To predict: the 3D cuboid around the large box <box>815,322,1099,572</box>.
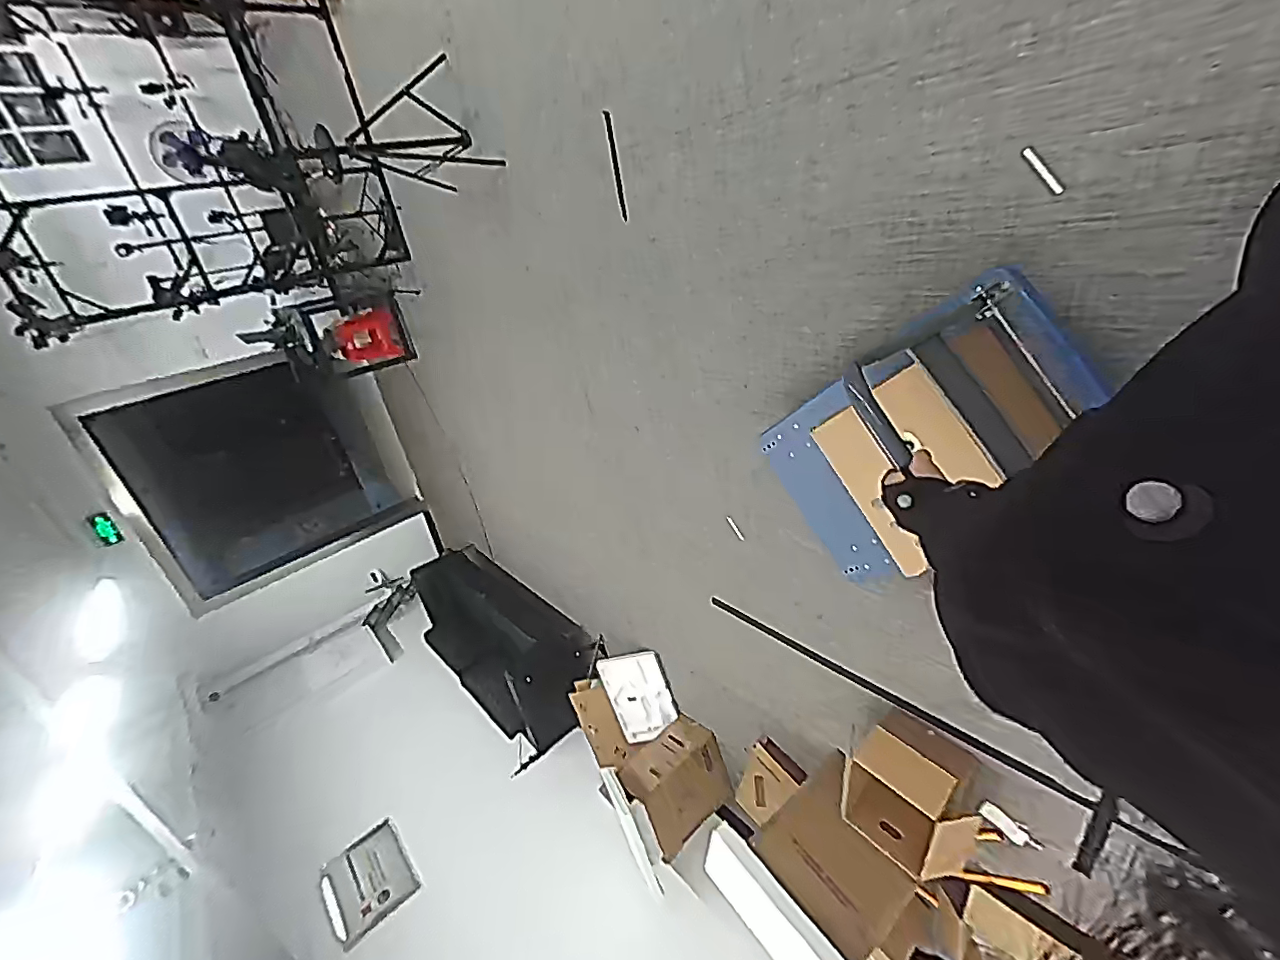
[{"bbox_3d":[0.687,-0.069,1.198,0.408,0.320,0.320,58,147,7],"label":"large box"}]
